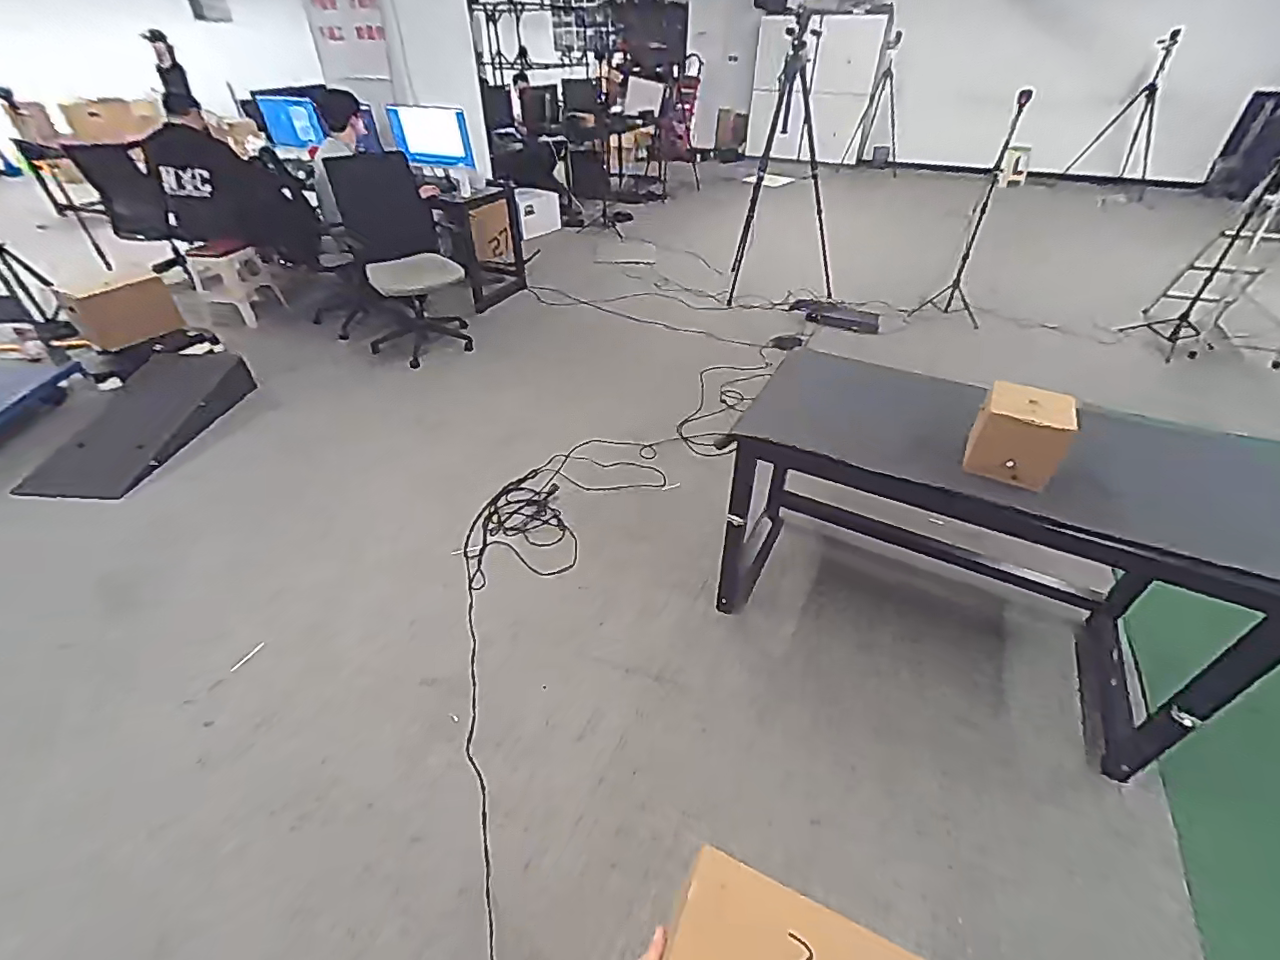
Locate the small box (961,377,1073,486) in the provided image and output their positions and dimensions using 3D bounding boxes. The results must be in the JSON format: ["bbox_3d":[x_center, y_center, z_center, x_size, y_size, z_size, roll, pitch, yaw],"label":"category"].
[{"bbox_3d":[0.877,-0.115,1.268,0.168,0.176,0.179,19,42,23],"label":"small box"}]
